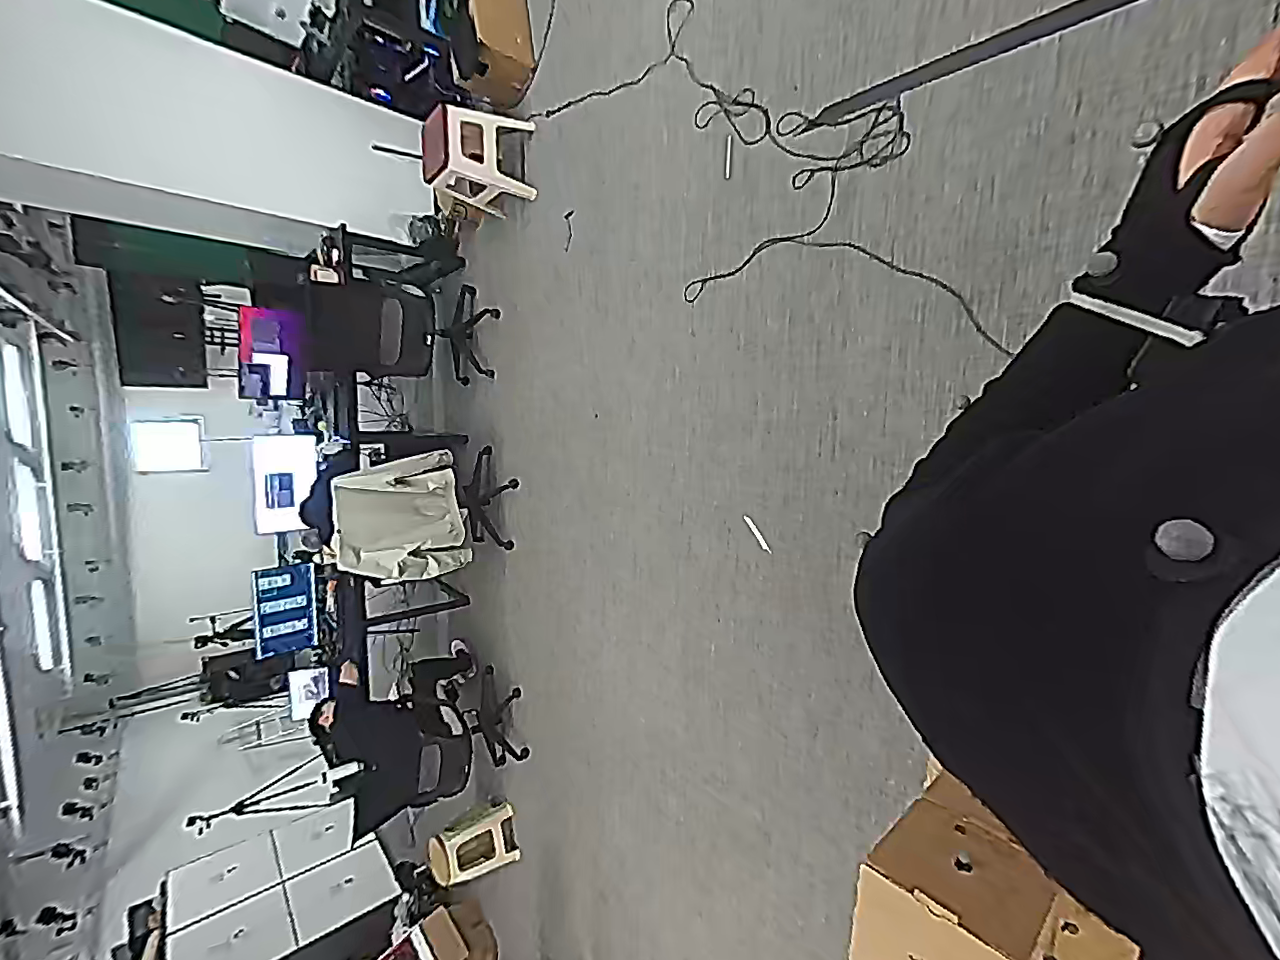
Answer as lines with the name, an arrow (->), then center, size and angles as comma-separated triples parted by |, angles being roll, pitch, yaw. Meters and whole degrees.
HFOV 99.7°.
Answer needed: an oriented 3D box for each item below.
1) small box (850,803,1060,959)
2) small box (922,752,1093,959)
small box -> 0.374, 0.533, 0.644 | 0.168, 0.176, 0.179 | 12, 102, 47
small box -> 0.500, 0.521, 0.748 | 0.168, 0.176, 0.179 | 11, 101, 47
